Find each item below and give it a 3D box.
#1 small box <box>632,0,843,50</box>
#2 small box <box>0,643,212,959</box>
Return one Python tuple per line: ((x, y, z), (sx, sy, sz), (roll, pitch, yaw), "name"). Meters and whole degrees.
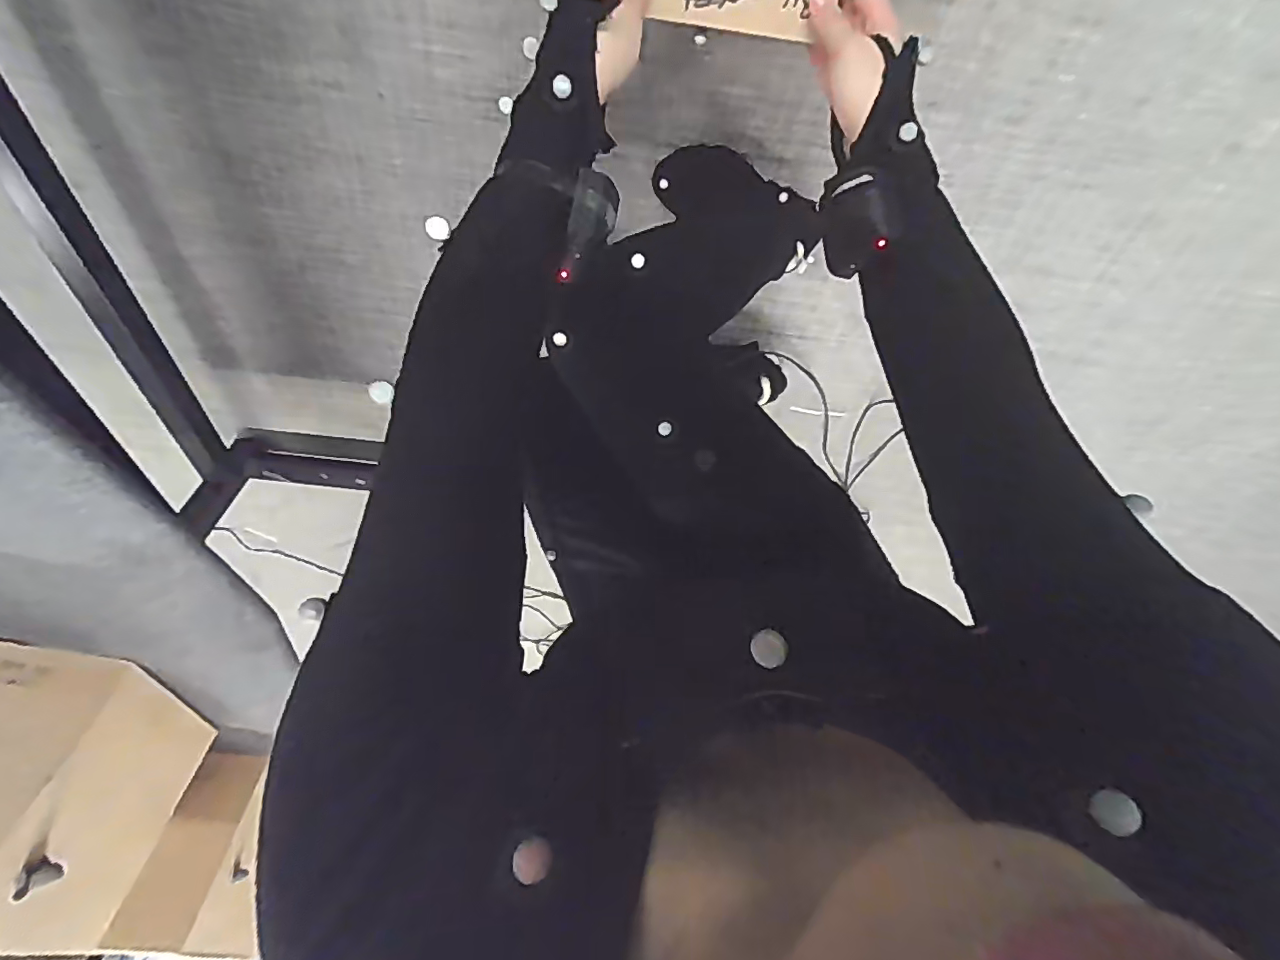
((0.086, -0.475, 0.425), (0.168, 0.176, 0.179), (6, 137, -5), "small box")
((-0.468, 0.229, 0.390), (0.168, 0.176, 0.179), (12, 137, -6), "small box")
